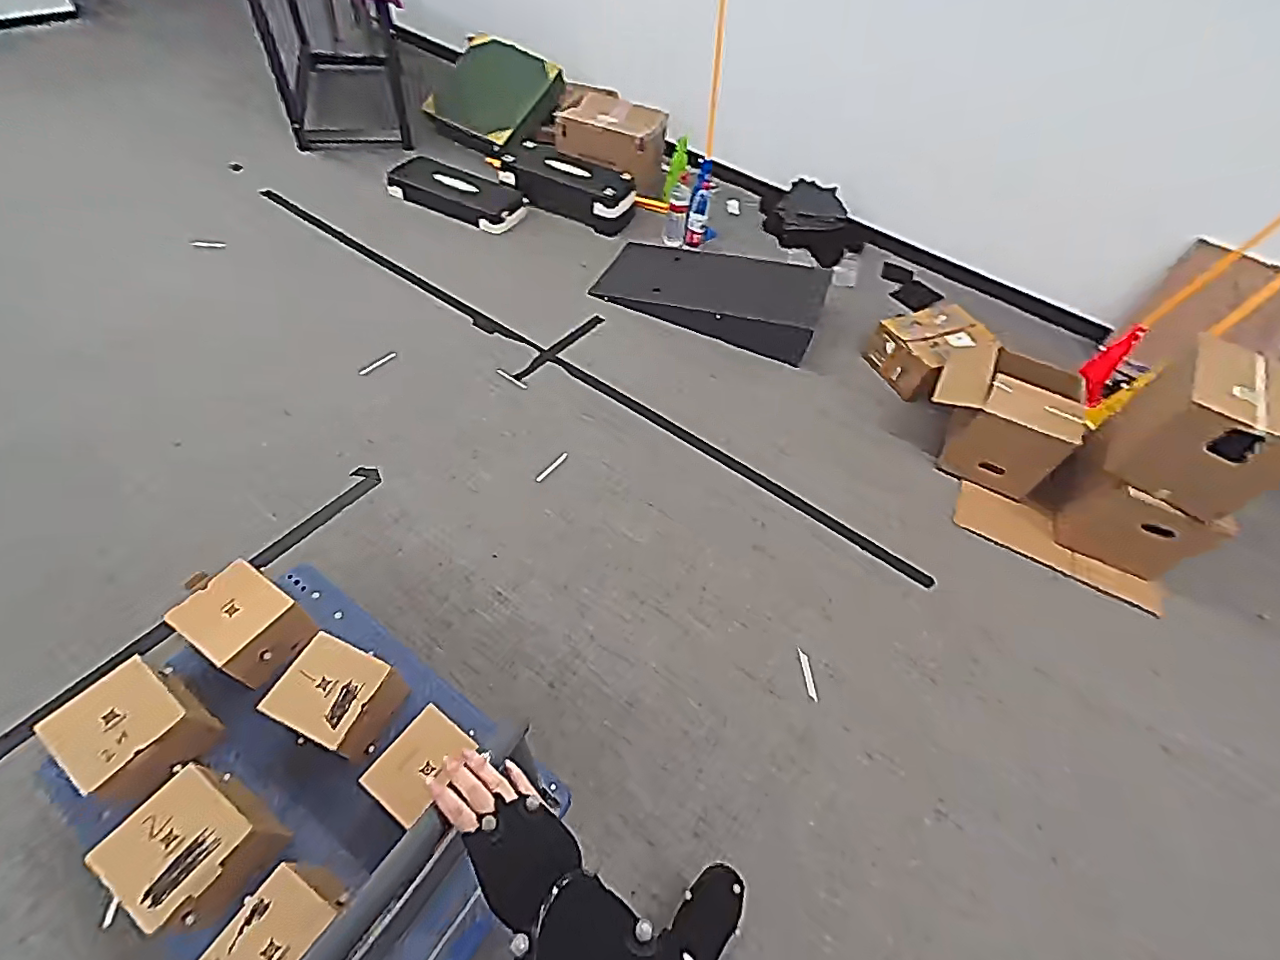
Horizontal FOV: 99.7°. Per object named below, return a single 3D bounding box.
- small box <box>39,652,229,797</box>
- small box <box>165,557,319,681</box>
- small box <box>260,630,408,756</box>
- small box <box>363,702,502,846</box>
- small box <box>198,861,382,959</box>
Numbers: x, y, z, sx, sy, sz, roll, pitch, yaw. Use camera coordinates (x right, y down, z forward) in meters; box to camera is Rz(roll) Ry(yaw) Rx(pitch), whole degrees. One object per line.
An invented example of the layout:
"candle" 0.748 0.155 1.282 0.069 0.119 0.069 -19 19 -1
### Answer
"small box" -0.934 0.464 1.015 0.179 0.176 0.168 35 56 15
"small box" -0.832 0.303 1.152 0.179 0.176 0.168 30 55 13
"small box" -0.601 0.436 1.092 0.179 0.176 0.168 22 54 9
"small box" -0.384 0.564 1.034 0.179 0.176 0.168 33 55 16
"small box" -0.550 0.749 0.869 0.179 0.176 0.168 30 54 13
